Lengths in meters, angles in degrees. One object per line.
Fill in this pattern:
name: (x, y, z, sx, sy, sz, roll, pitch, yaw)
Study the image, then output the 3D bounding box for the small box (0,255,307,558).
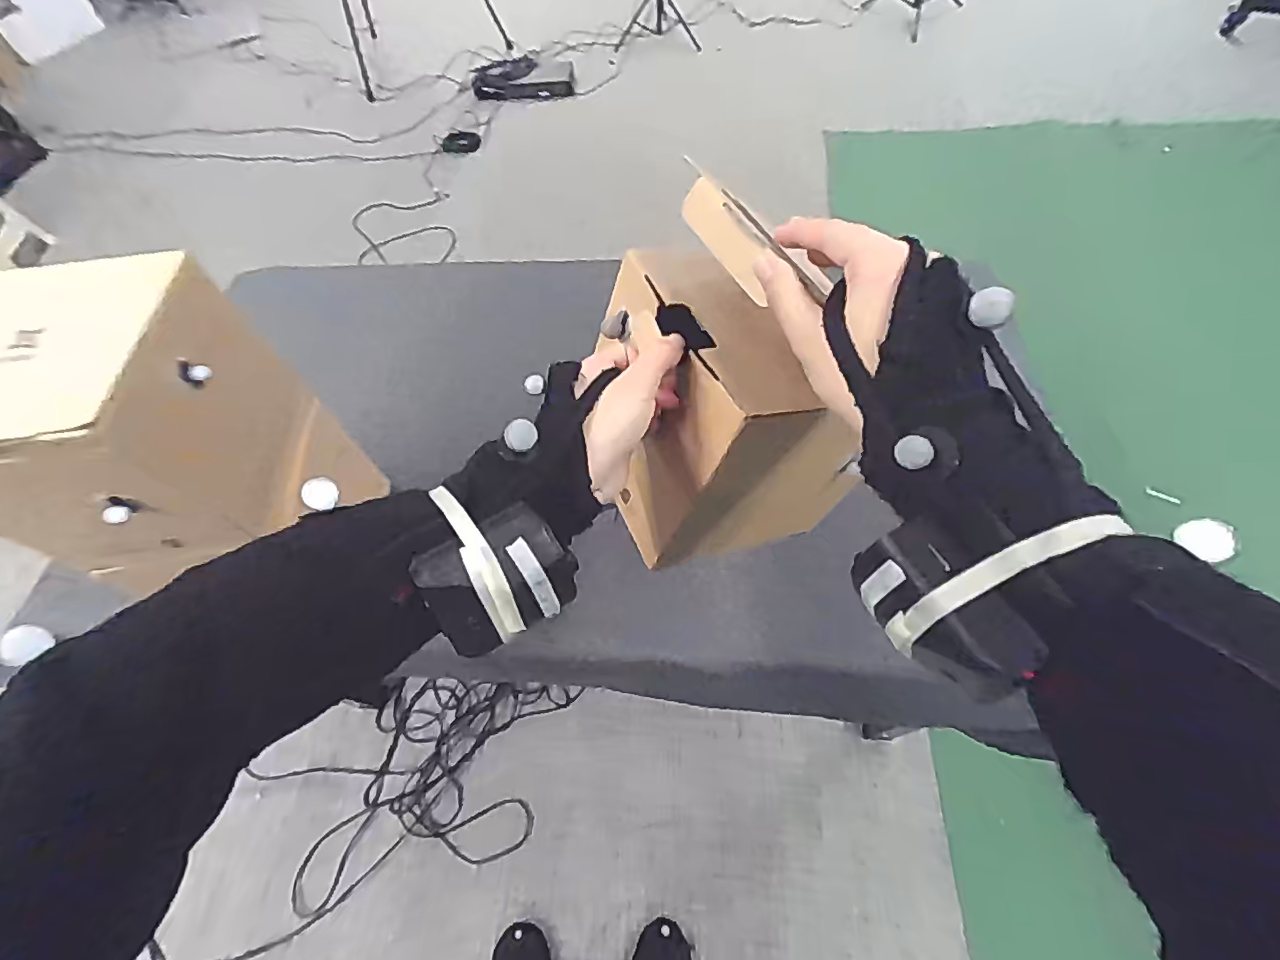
small box: (-0.407, -0.048, 0.435, 0.168, 0.176, 0.179, -6, 57, 0)

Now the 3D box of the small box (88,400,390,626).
small box: (-0.390, 0.042, 0.570, 0.179, 0.176, 0.168, -9, 58, 0)
